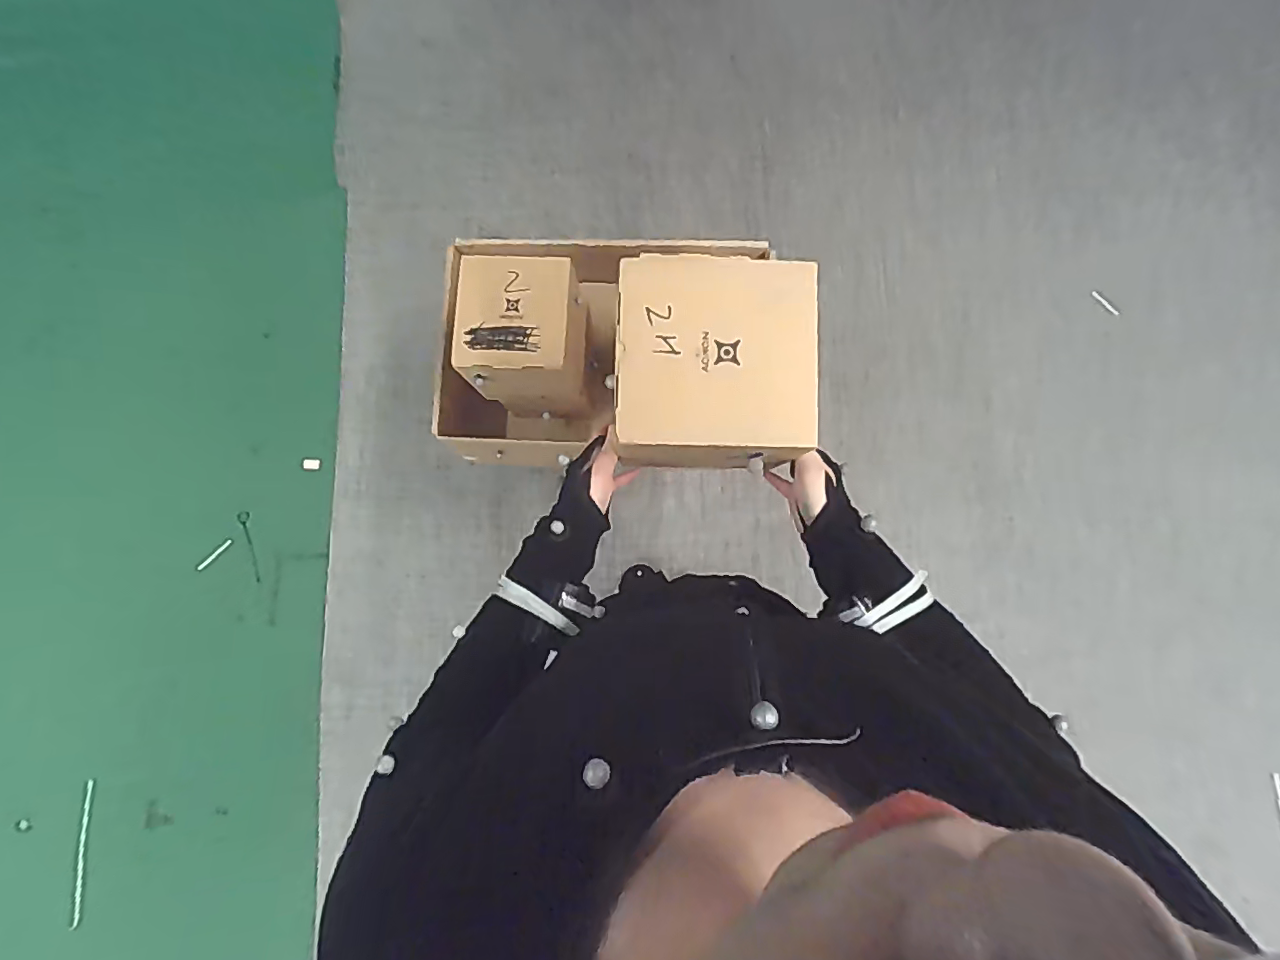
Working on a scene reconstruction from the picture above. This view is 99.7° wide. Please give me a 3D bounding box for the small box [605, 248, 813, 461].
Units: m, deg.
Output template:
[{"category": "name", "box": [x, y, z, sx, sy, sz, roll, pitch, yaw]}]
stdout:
[{"category": "small box", "box": [0.062, -0.111, 0.544, 0.179, 0.176, 0.168, 2, 85, 2]}]
